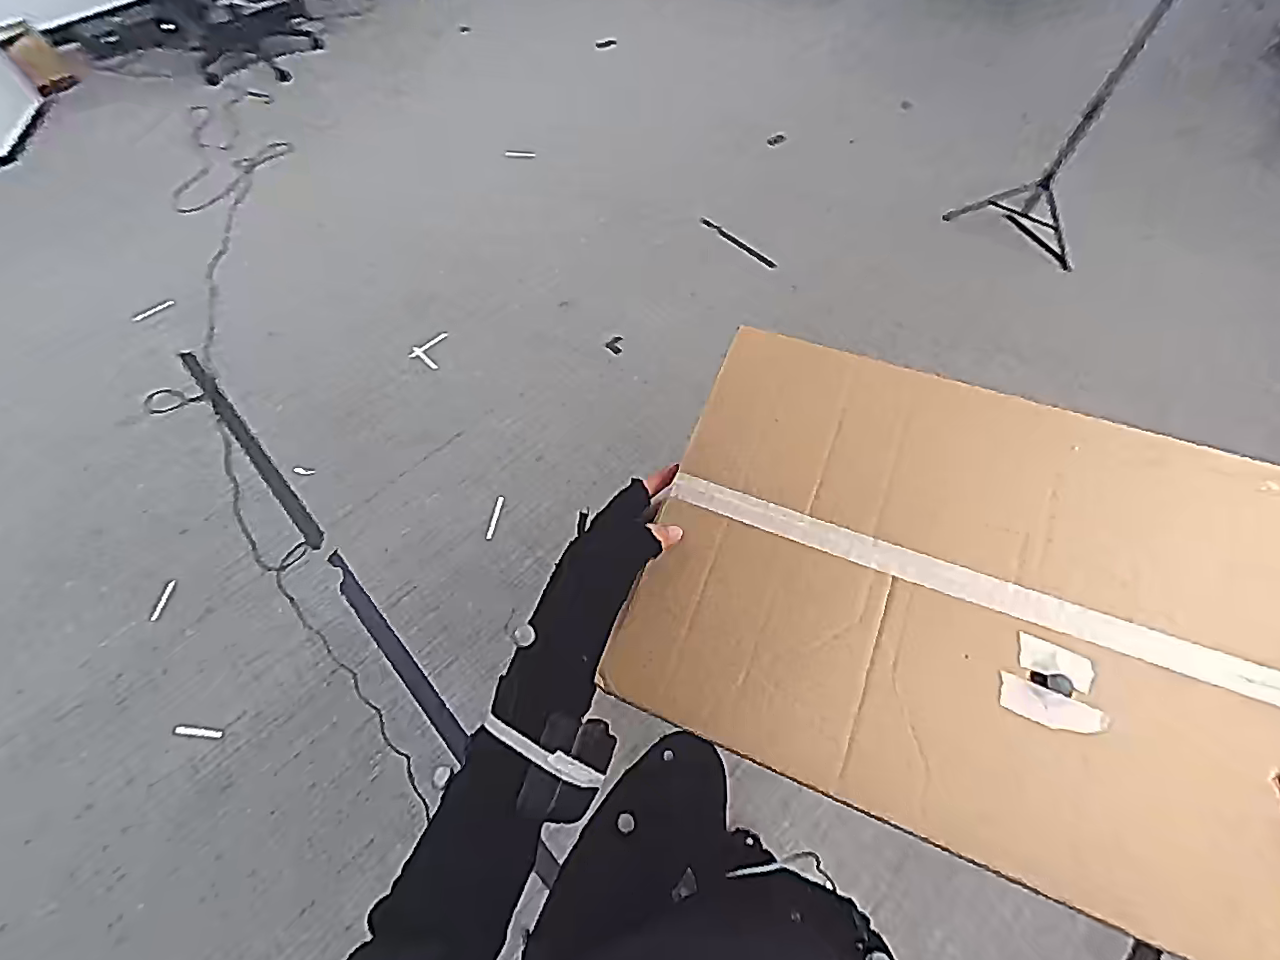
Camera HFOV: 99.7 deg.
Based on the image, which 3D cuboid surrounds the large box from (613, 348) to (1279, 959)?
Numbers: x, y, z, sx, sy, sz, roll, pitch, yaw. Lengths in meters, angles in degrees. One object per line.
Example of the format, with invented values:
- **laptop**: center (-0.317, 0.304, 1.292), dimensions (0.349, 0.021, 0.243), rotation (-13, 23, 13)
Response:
- **large box**: center (0.230, 0.129, 0.520), dimensions (0.408, 0.320, 0.320), rotation (19, 72, 14)
